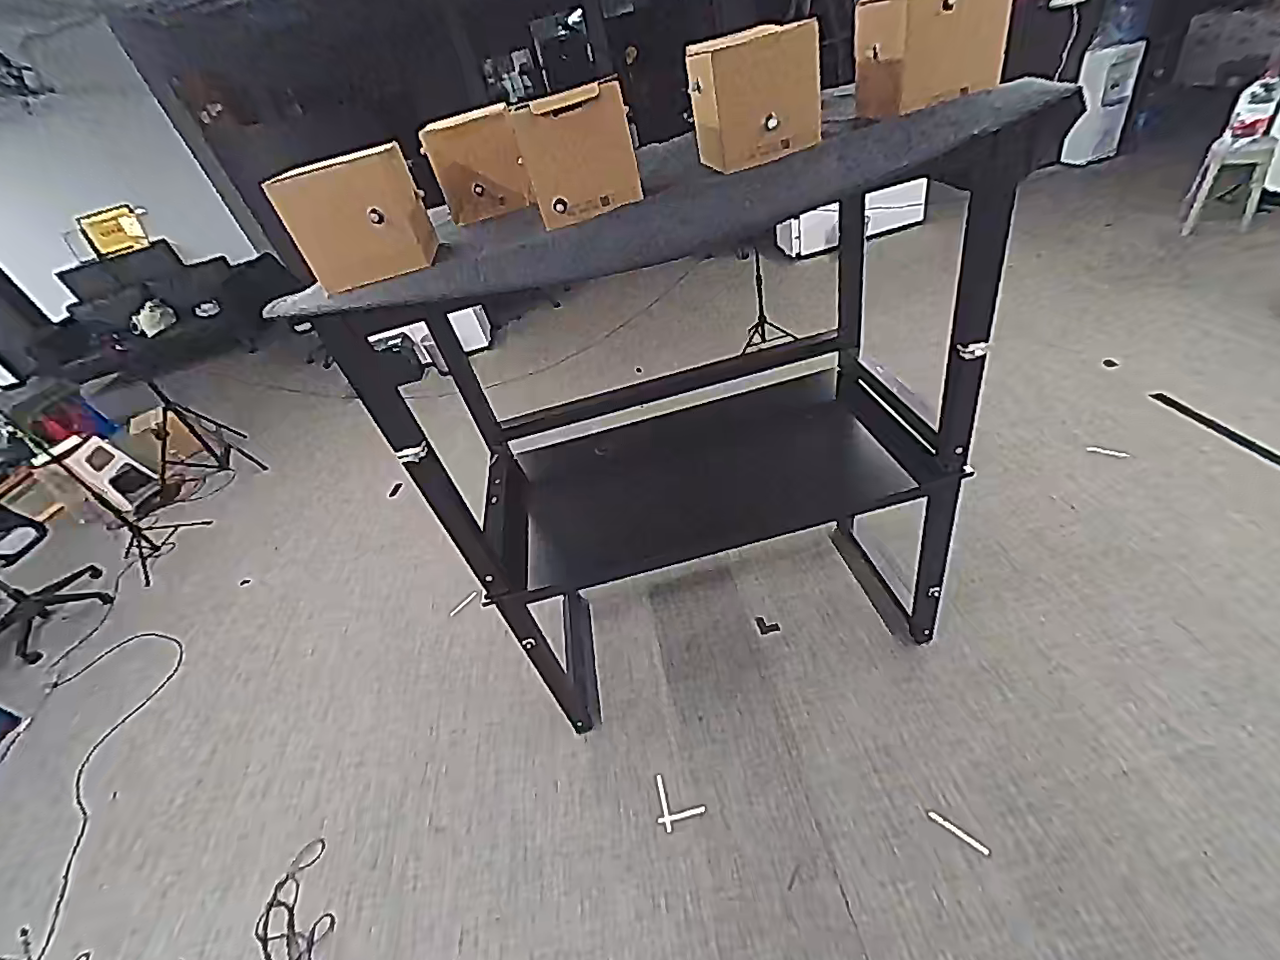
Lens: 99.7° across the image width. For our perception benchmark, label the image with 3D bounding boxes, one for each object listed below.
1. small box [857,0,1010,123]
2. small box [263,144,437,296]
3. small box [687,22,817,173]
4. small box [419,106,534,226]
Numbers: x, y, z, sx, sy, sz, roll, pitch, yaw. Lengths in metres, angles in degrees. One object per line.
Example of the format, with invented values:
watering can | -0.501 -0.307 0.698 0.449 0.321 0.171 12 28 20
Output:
small box | 0.474 -0.714 0.901 0.168 0.176 0.179 -15 37 3
small box | -0.454 -0.425 0.884 0.179 0.176 0.168 -16 38 -1
small box | 0.186 -0.634 0.908 0.168 0.176 0.179 -16 37 1
small box | -0.320 -0.634 1.096 0.168 0.176 0.179 -17 39 0
